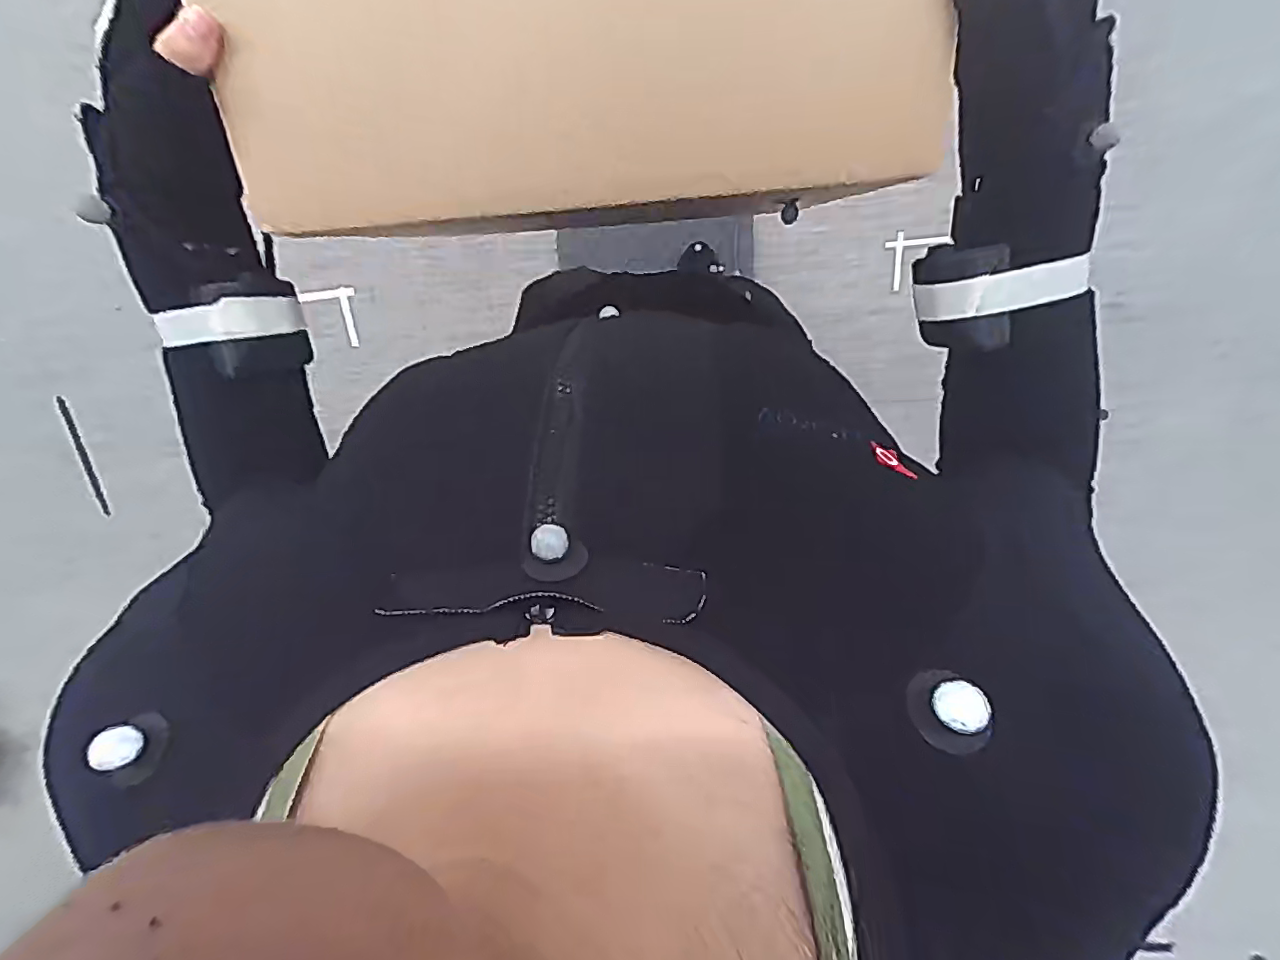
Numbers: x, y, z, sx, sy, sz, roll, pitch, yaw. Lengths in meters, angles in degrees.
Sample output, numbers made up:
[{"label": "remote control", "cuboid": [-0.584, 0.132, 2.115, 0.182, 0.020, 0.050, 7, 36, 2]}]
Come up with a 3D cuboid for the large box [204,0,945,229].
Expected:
[{"label": "large box", "cuboid": [-0.035, -0.373, 0.403, 0.408, 0.320, 0.320, -3, 113, 4]}]

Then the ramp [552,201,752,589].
[{"label": "ramp", "cuboid": [0.037, -0.200, 1.420, 0.509, 0.206, 0.991, -3, 107, 6]}]
